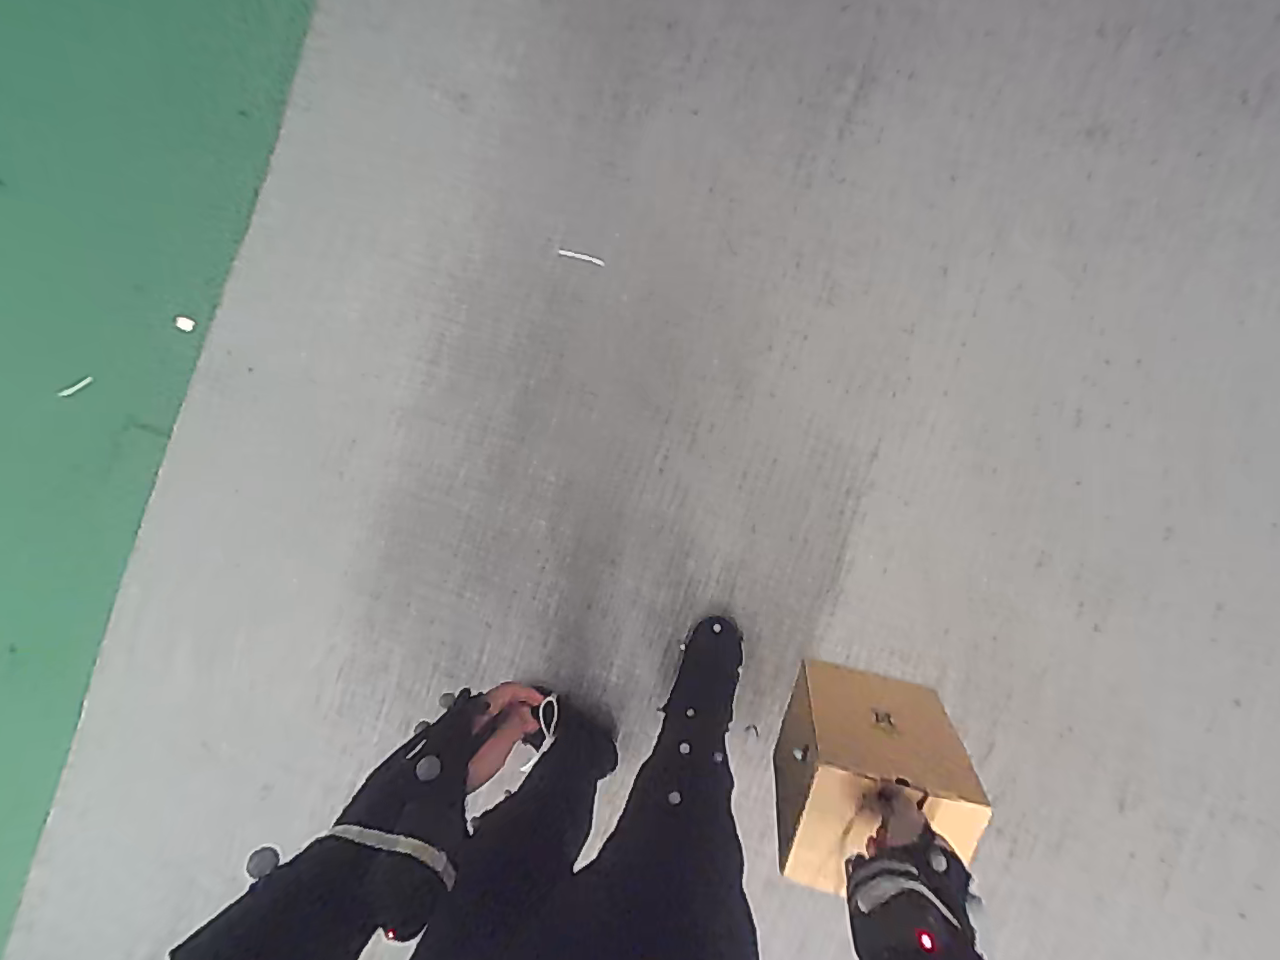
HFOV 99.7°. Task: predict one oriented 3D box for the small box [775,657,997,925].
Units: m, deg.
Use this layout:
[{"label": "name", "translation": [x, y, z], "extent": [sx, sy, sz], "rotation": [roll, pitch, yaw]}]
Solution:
[{"label": "small box", "translation": [0.257, 0.342, 0.617], "extent": [0.168, 0.179, 0.176], "rotation": [13, 110, 7]}]
